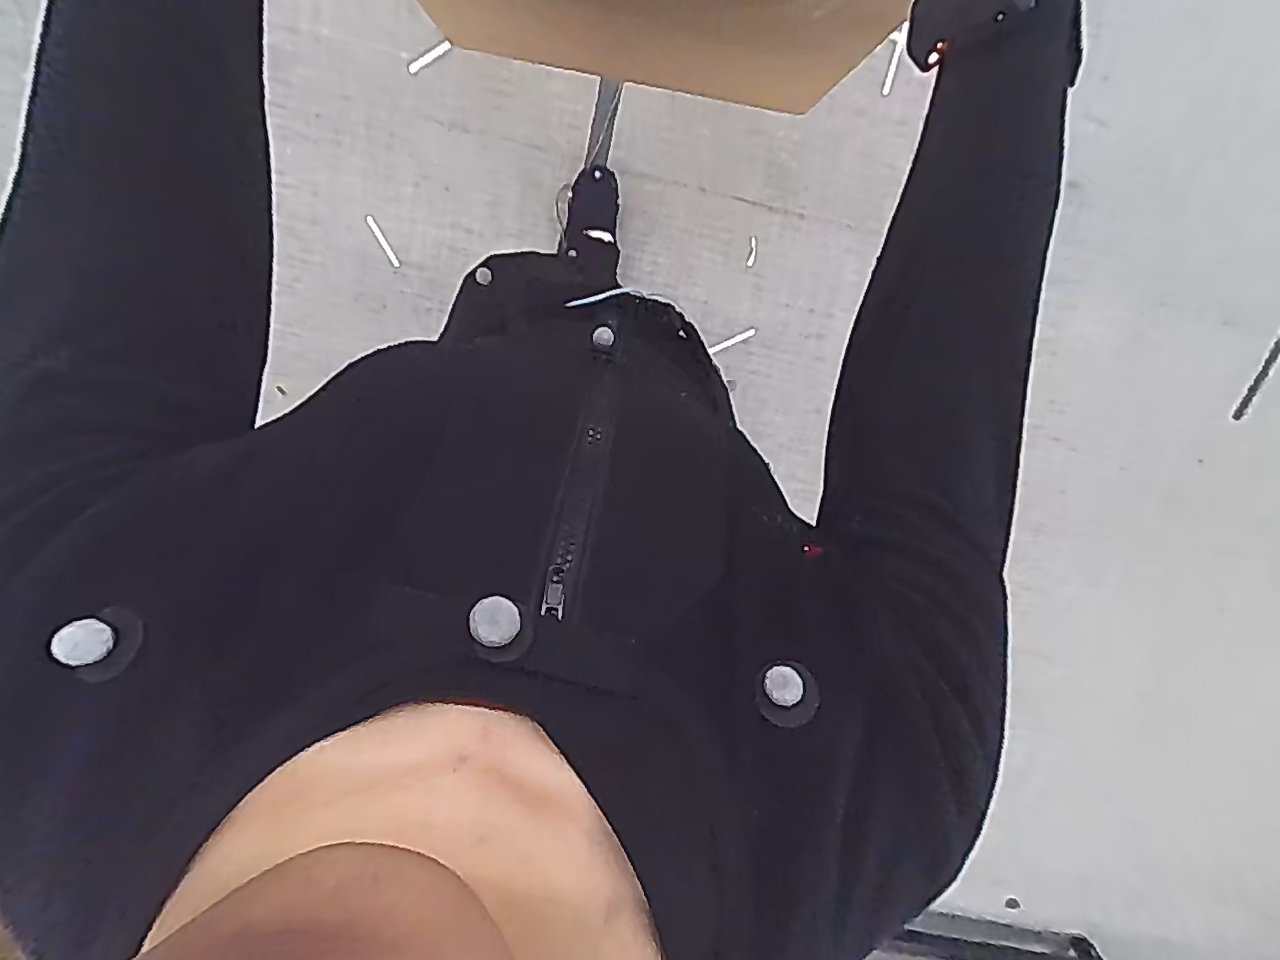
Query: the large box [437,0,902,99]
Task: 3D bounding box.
[{"bbox_3d":[0.021,-0.549,0.417,0.408,0.320,0.320,8,111,-5],"label":"large box"}]
